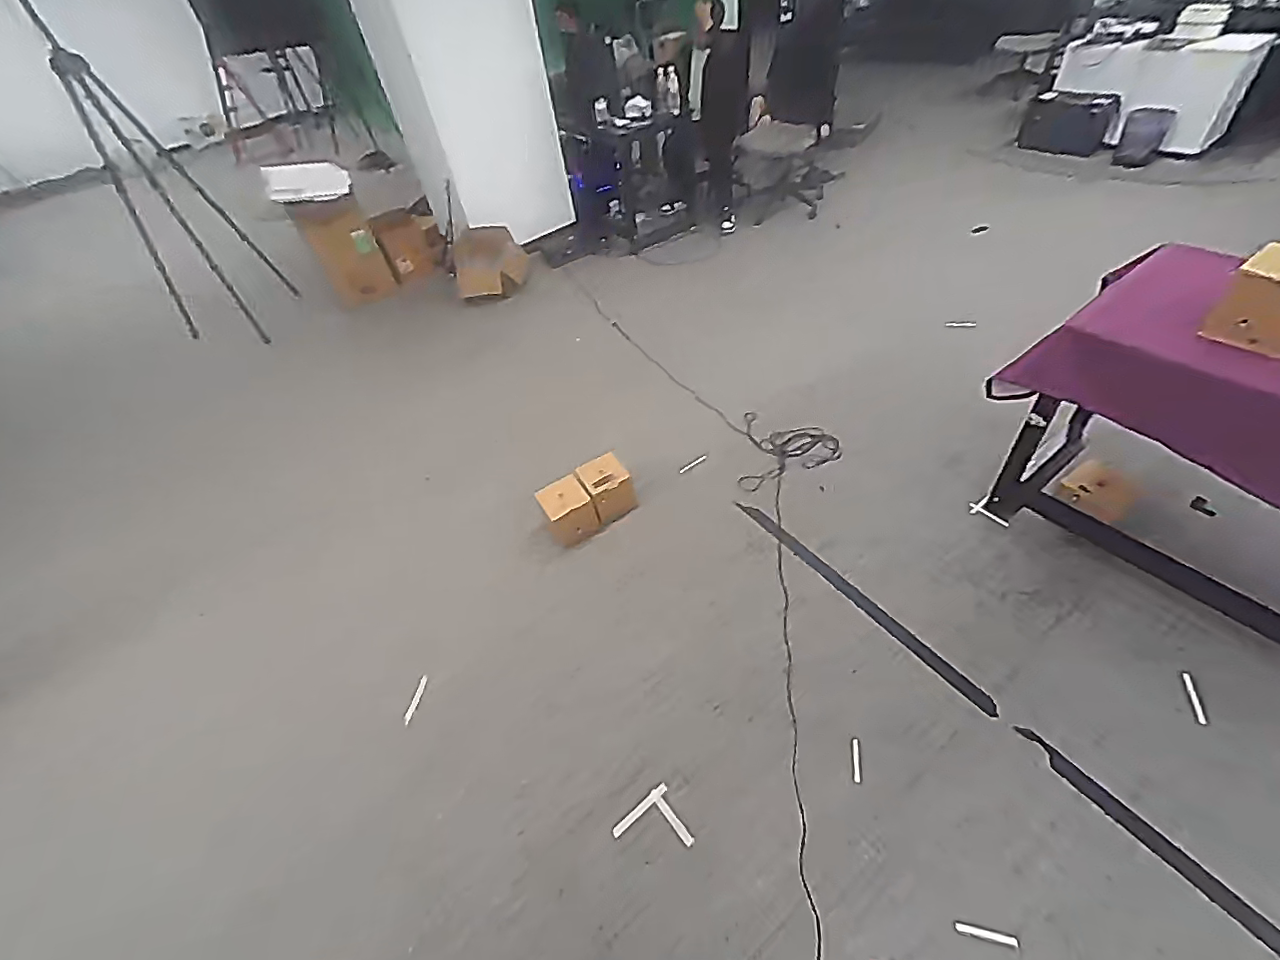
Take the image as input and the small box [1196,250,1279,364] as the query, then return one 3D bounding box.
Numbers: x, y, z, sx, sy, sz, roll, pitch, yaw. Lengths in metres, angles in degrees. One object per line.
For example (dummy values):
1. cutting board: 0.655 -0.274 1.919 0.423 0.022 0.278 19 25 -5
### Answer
1. small box: 1.455 -0.398 1.246 0.179 0.176 0.168 -32 50 -19
